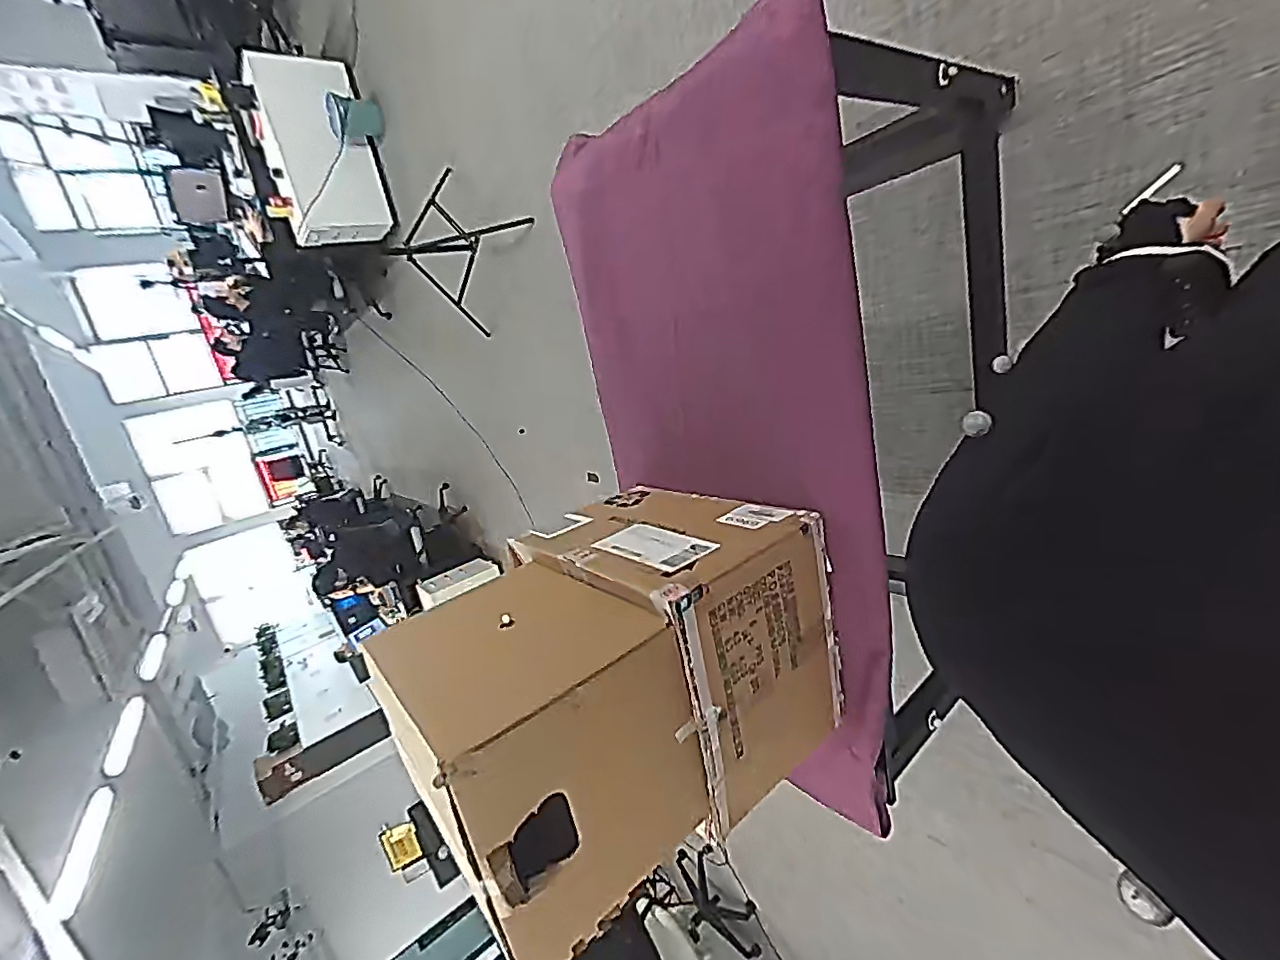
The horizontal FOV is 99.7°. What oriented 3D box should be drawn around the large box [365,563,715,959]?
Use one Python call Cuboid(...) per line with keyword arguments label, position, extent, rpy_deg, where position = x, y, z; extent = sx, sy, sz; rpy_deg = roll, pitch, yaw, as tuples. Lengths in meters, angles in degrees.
Cuboid(label="large box", position=(-0.157, 0.345, 0.793), extent=(0.408, 0.320, 0.320), rpy_deg=(5, 114, 52))
